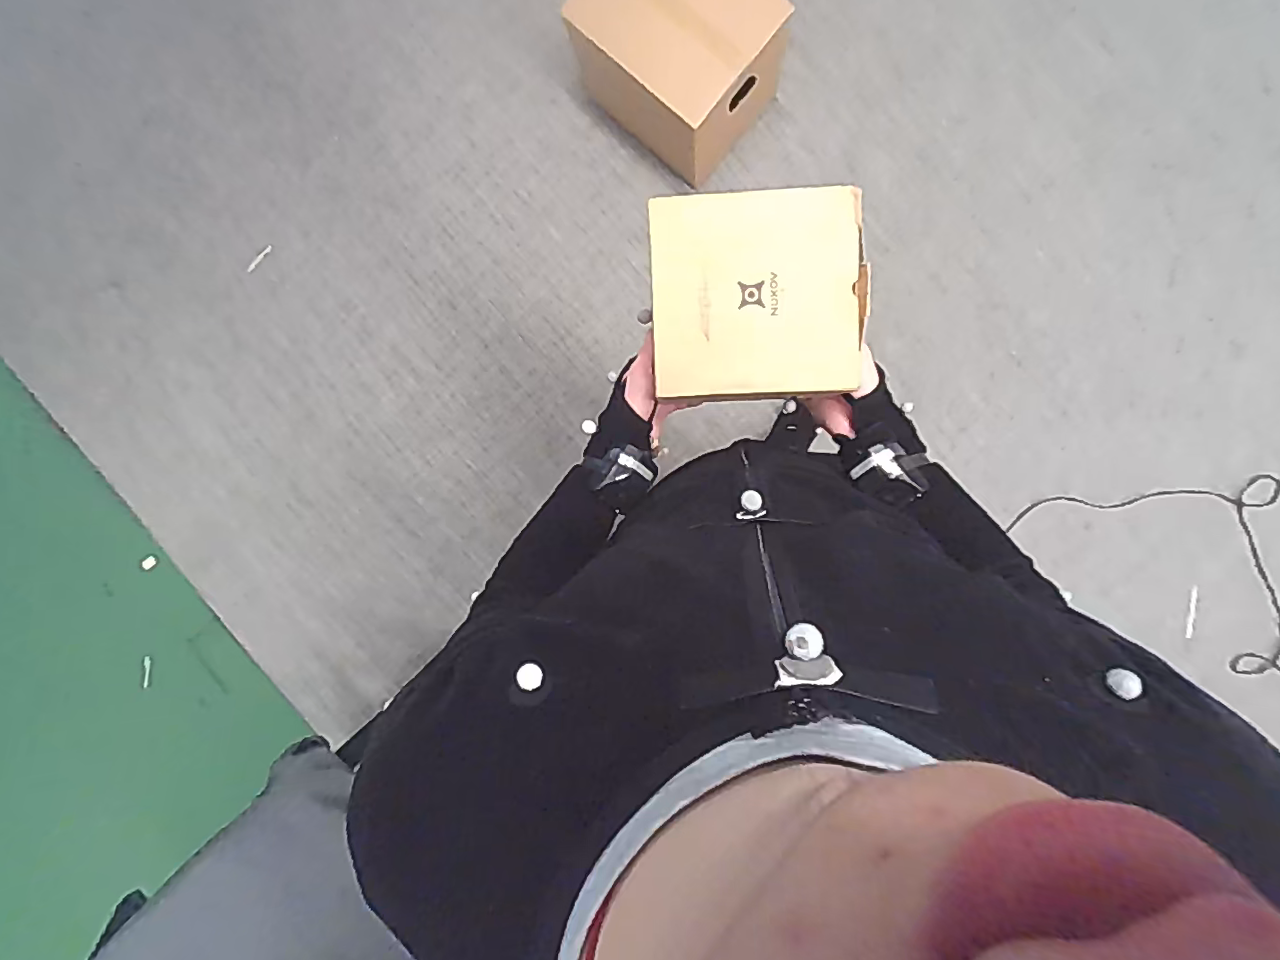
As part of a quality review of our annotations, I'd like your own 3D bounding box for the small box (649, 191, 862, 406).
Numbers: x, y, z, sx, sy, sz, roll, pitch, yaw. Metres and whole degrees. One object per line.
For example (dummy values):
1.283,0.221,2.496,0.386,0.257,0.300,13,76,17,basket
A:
0.101,-0.160,0.532,0.179,0.176,0.168,-3,95,4,small box
